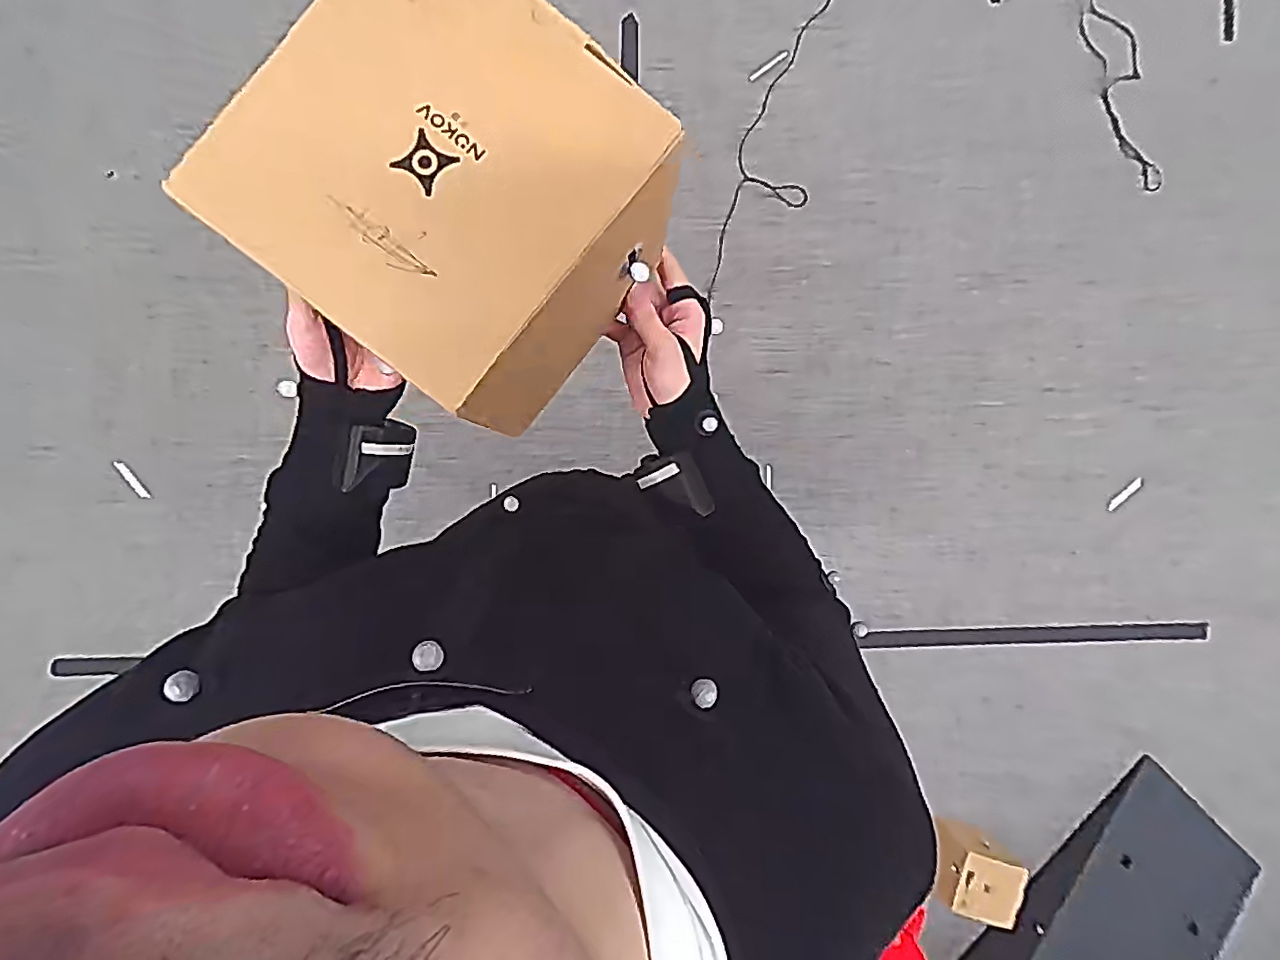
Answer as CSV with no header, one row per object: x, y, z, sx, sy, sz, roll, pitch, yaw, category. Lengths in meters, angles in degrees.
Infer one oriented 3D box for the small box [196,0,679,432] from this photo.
-0.099,-0.149,0.339,0.168,0.176,0.179,37,90,-1,small box
